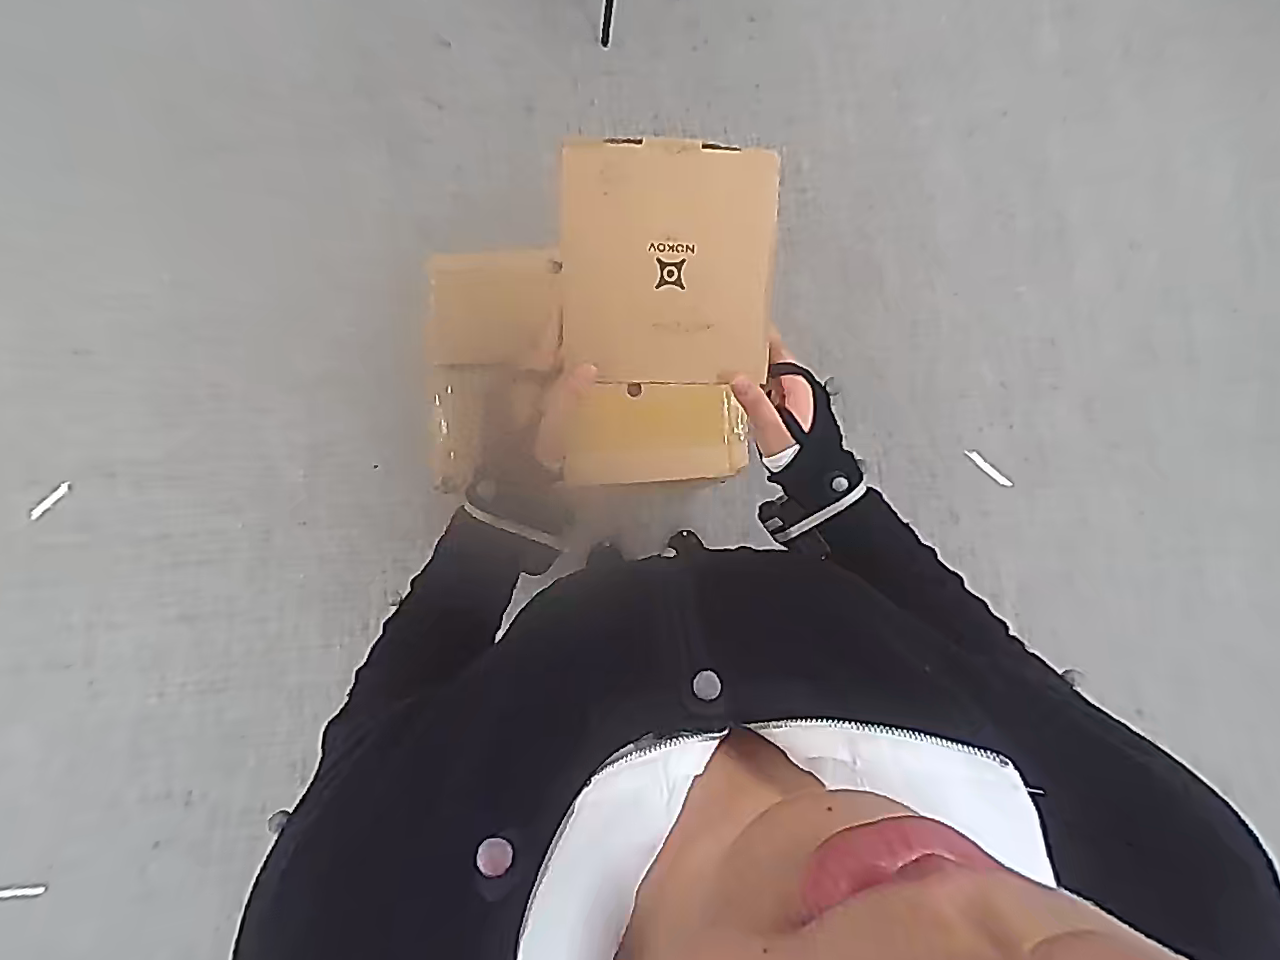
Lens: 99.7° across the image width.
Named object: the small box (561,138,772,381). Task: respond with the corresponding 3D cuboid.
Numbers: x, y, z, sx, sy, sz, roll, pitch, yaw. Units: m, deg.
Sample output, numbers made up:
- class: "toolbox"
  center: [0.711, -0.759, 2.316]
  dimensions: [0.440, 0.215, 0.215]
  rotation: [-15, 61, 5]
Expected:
- class: "small box"
  center: [0.011, -0.181, 0.499]
  dimensions: [0.168, 0.176, 0.179]
  rotation: [-1, 101, -6]
